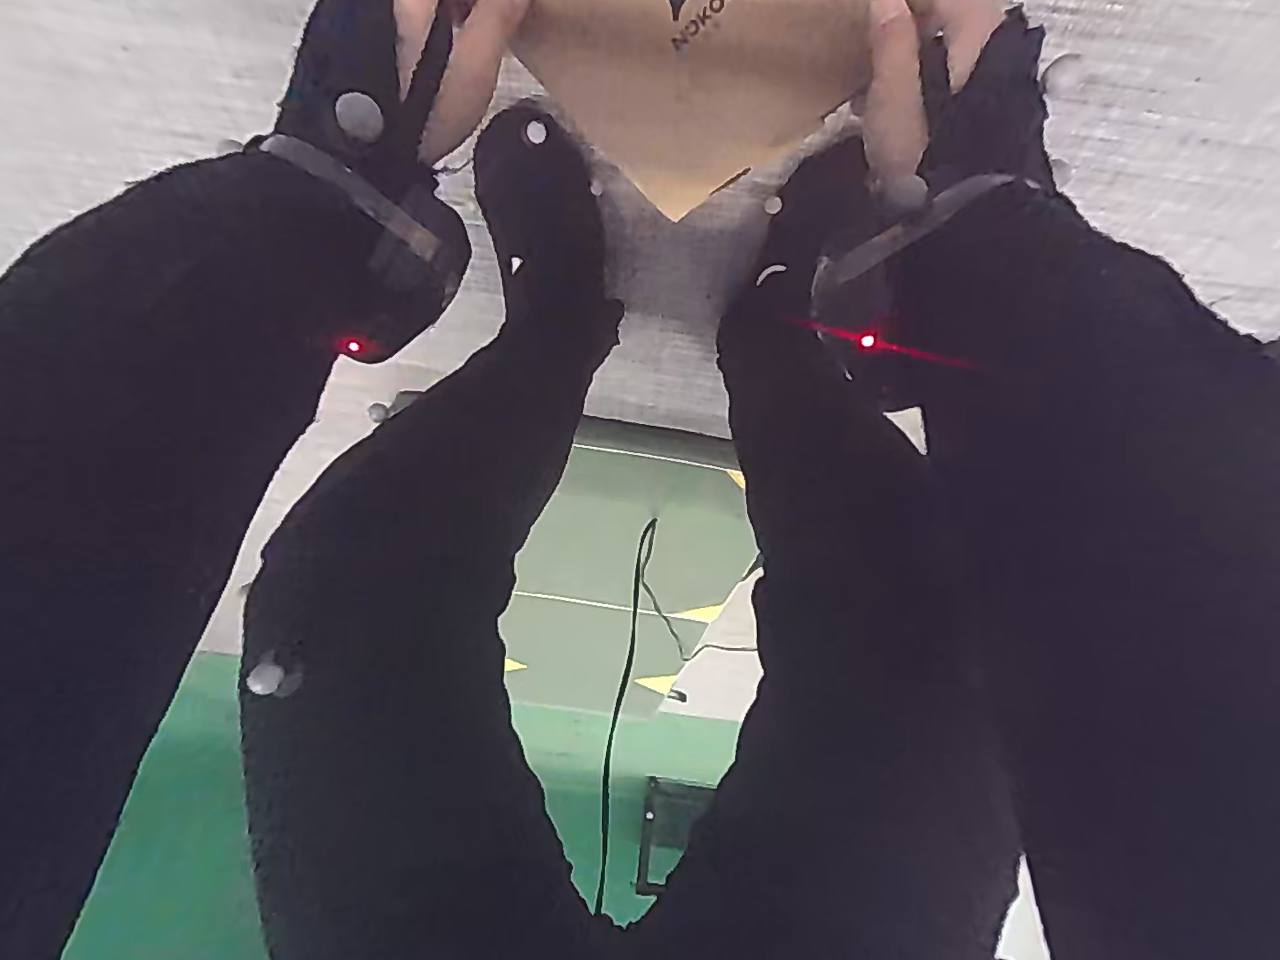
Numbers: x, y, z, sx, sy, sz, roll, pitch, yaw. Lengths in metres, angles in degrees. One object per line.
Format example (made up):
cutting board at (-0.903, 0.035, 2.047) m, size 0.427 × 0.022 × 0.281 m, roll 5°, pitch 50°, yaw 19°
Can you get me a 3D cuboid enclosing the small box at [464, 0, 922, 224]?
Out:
small box at (0.033, -0.295, 0.297) m, size 0.168 × 0.176 × 0.179 m, roll -19°, pitch 143°, yaw 39°
